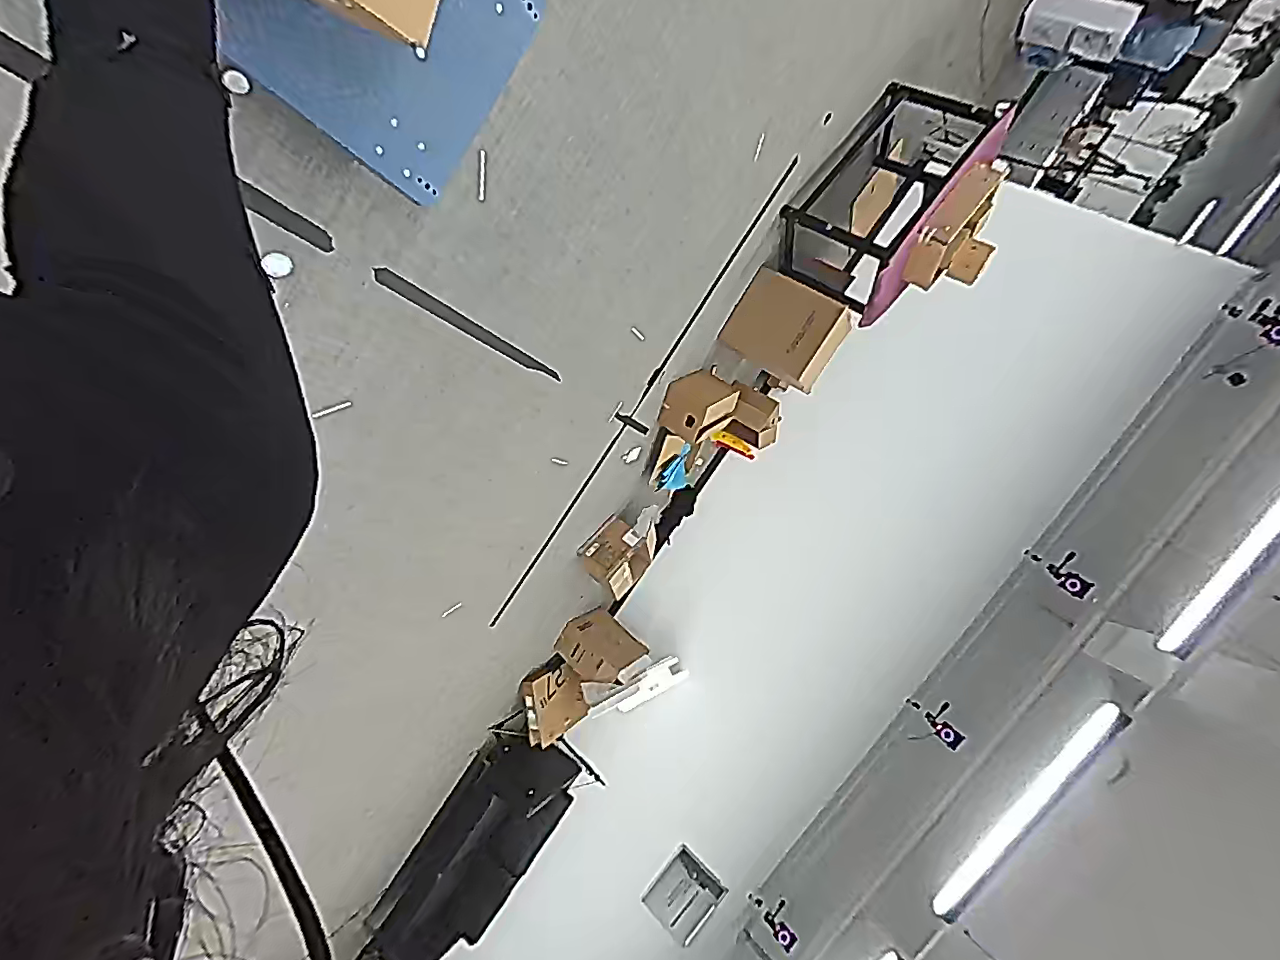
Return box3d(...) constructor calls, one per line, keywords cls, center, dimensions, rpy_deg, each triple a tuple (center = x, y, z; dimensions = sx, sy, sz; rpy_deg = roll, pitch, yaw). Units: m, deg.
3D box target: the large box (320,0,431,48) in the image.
box3d(cls="large box", center=(-0.467, -0.953, 0.754), dimensions=(0.320, 0.320, 0.408), rpy_deg=(-9, 134, -59))
